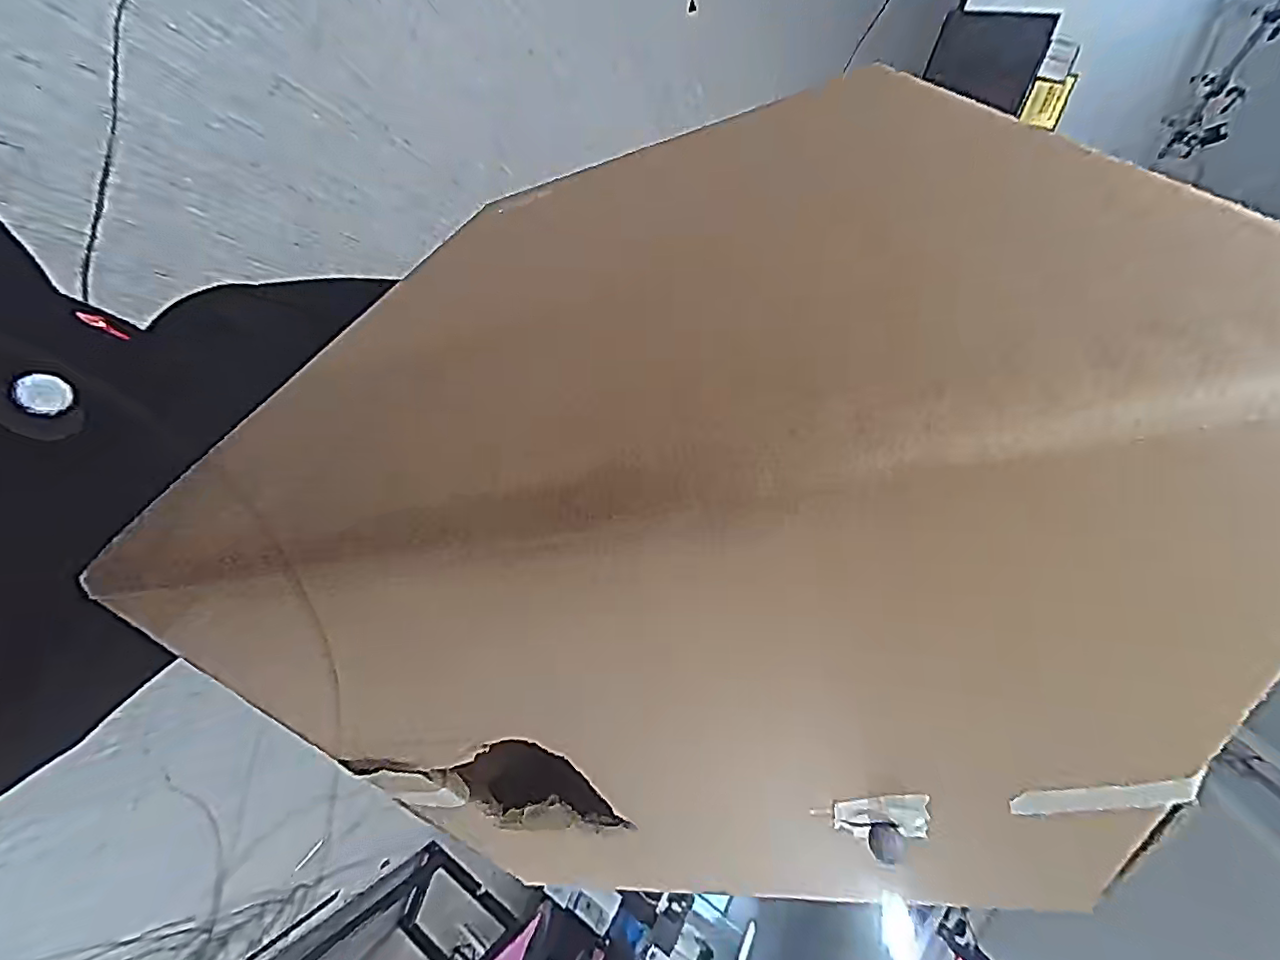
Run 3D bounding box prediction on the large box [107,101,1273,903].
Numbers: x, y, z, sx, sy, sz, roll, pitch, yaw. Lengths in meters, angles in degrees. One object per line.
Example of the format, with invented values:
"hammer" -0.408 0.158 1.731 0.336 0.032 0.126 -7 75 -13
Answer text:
"large box" 0.039 -0.011 0.364 0.408 0.320 0.320 -79 156 -49
